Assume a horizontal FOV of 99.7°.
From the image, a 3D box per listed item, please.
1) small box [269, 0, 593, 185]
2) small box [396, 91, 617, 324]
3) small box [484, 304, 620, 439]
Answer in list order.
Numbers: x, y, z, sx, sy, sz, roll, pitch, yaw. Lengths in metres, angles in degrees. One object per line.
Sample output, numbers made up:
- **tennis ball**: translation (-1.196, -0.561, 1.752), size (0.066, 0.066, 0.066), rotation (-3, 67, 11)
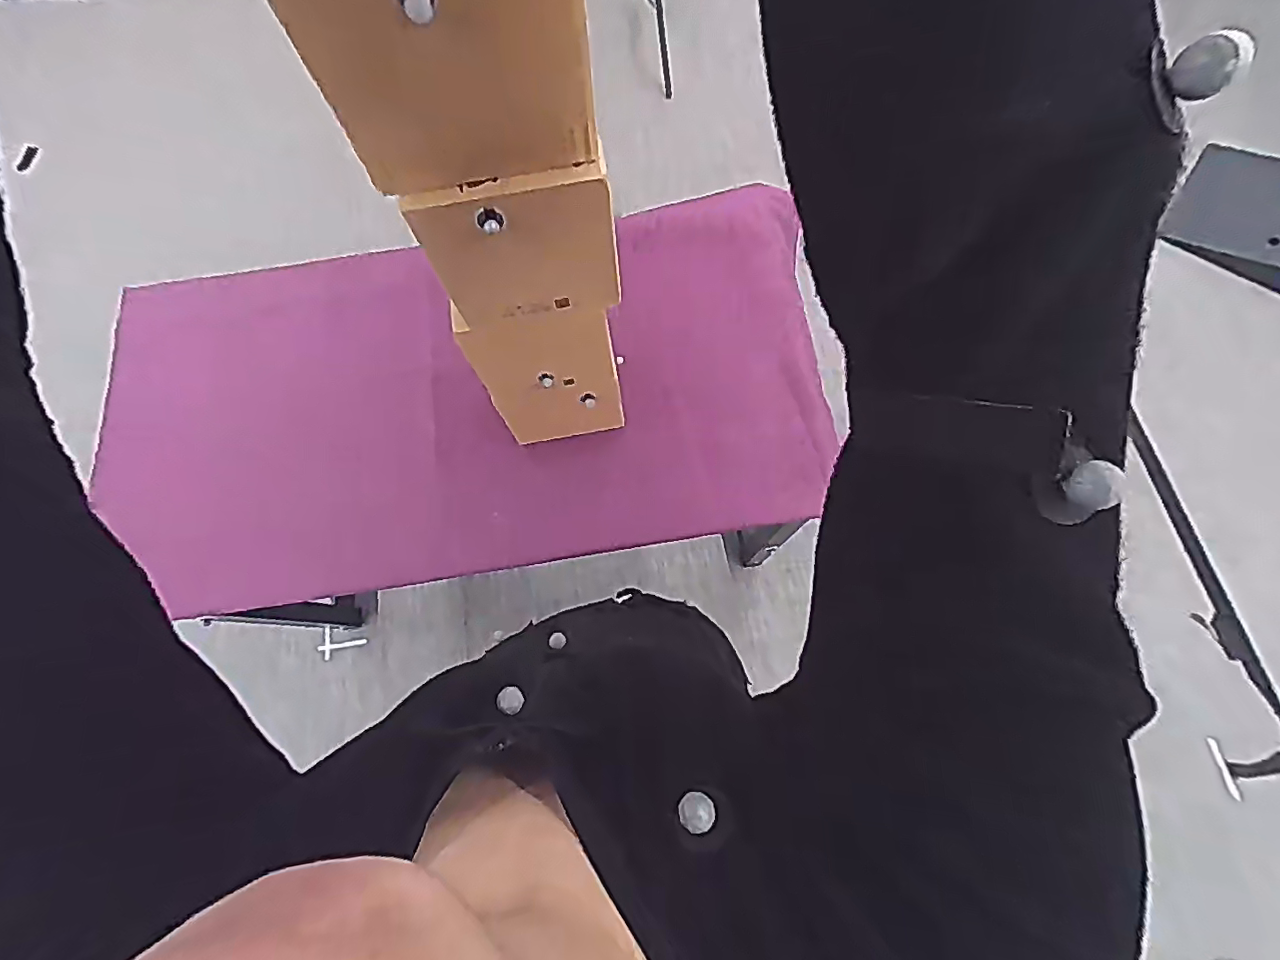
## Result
- **small box**: translation (-0.131, -0.337, 0.366), size (0.179, 0.176, 0.168), rotation (-11, 73, -1)
- **small box**: translation (-0.118, -0.279, 0.518), size (0.168, 0.176, 0.179), rotation (-10, 72, -2)
- **small box**: translation (-0.127, -0.177, 0.829), size (0.179, 0.176, 0.168), rotation (-10, 72, -1)
